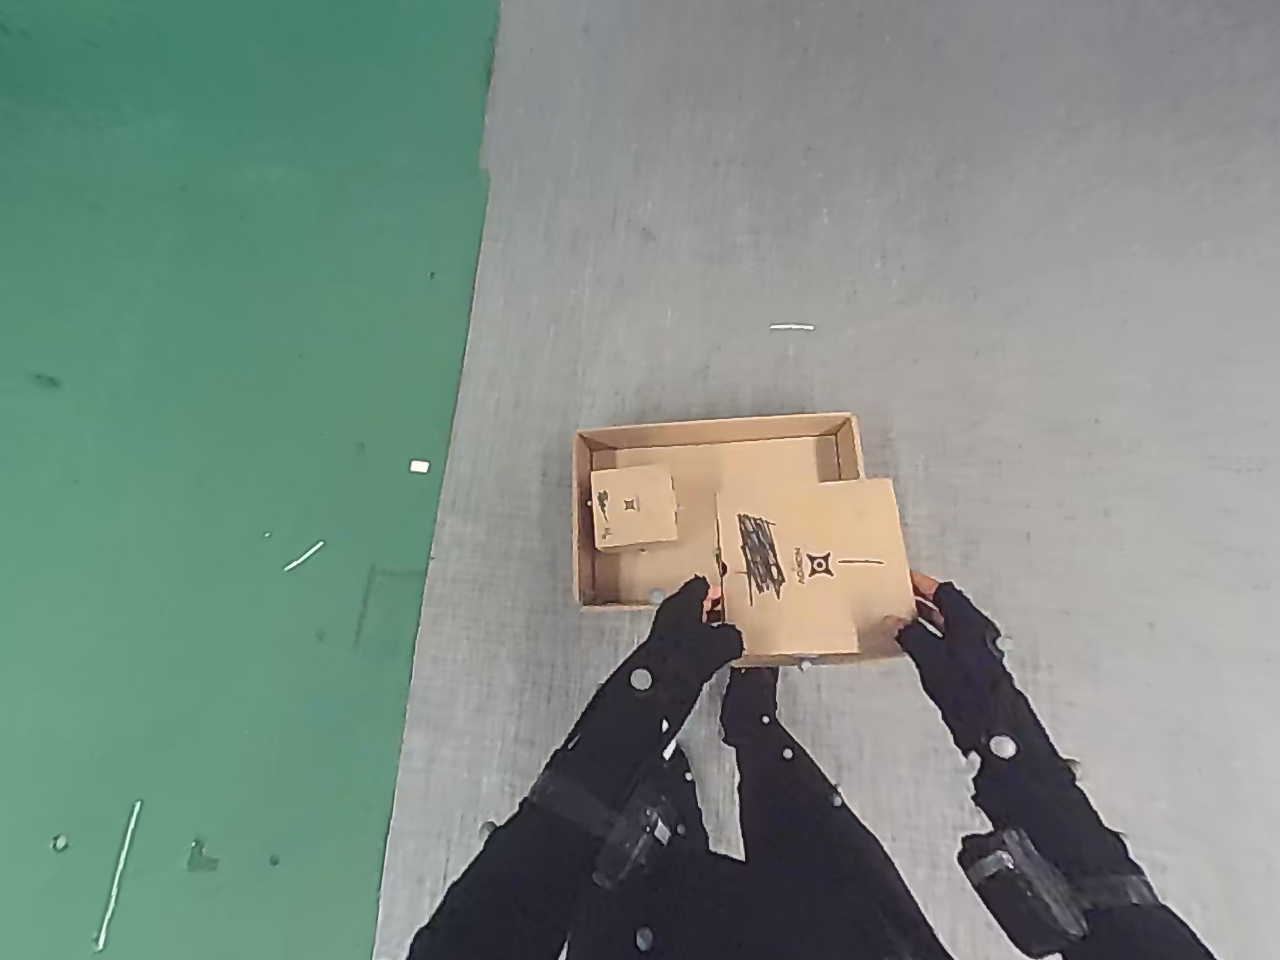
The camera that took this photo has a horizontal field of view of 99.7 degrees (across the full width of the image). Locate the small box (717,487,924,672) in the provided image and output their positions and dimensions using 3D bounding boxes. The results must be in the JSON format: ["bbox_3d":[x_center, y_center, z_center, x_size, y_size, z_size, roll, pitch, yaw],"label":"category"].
[{"bbox_3d":[0.182,0.119,0.593,0.179,0.176,0.168,-5,67,10],"label":"small box"}]

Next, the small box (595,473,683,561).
[{"bbox_3d":[0.001,0.087,1.209,0.179,0.176,0.168,-6,76,3],"label":"small box"}]
